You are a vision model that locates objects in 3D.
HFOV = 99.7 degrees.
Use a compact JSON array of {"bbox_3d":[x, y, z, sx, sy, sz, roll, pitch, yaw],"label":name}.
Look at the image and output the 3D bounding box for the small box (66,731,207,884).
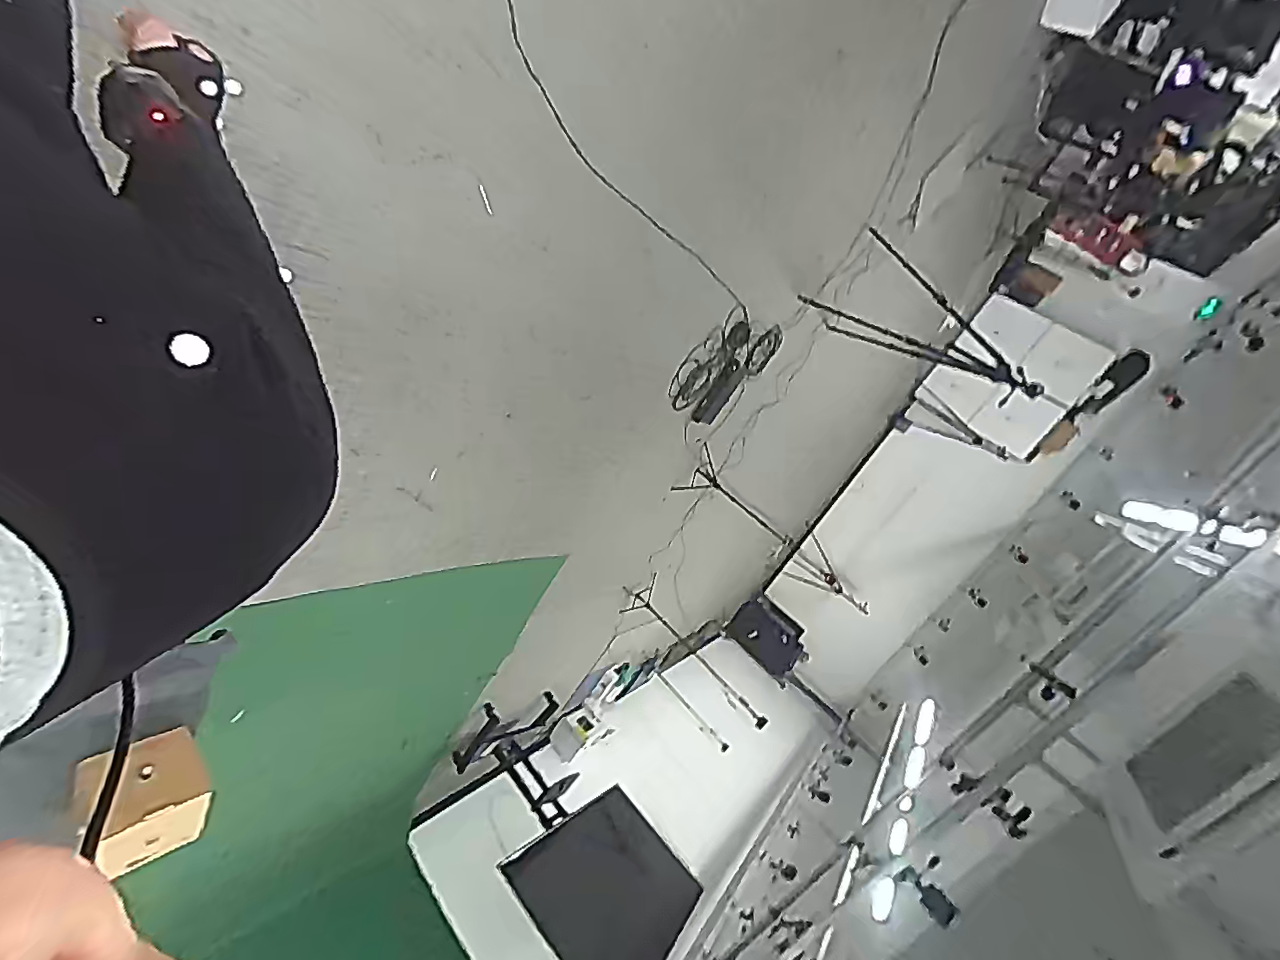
[{"bbox_3d":[-1.008,0.636,1.080,0.168,0.176,0.179,-7,132,-56],"label":"small box"}]
